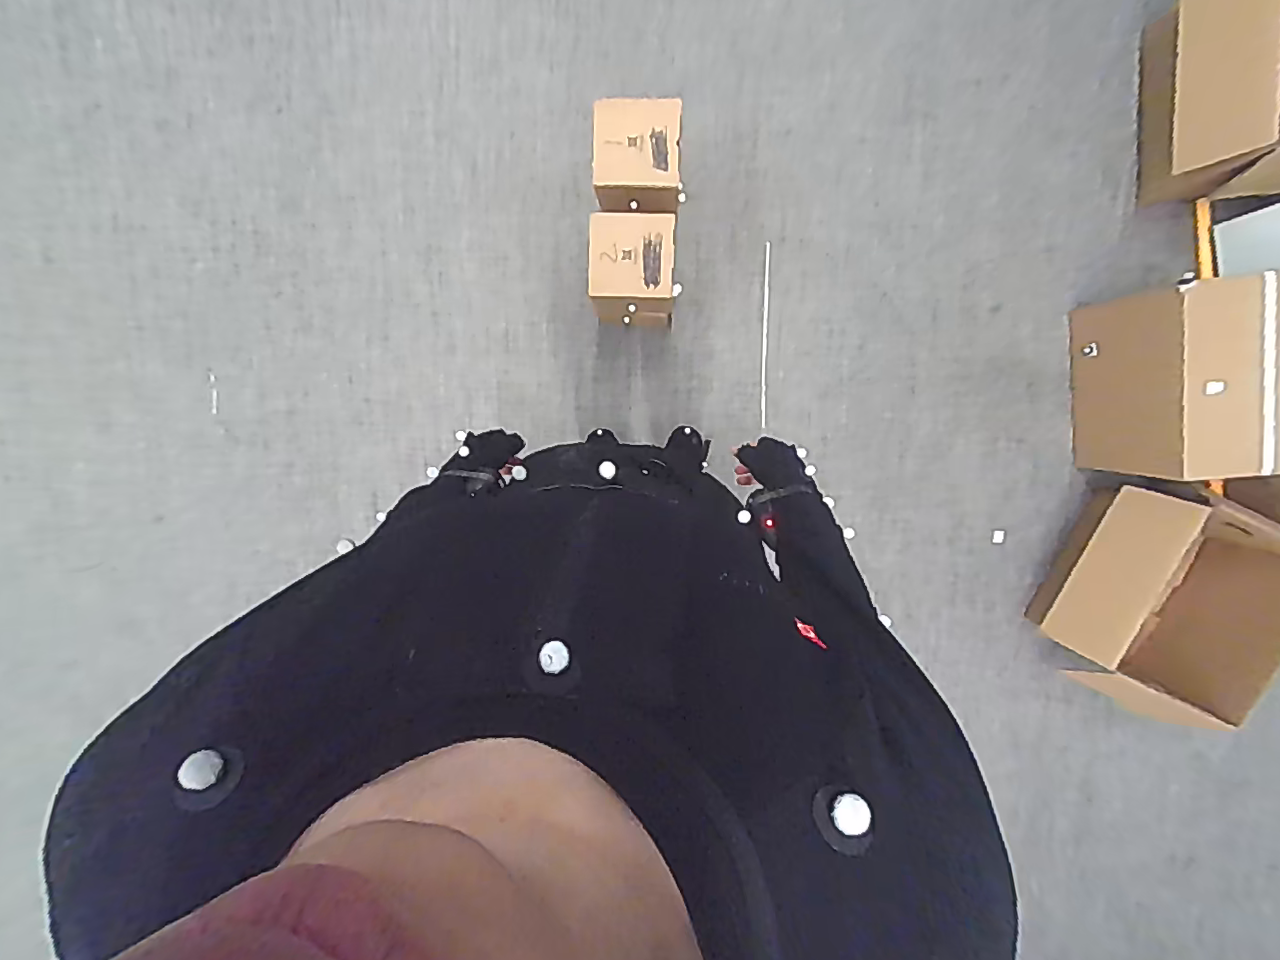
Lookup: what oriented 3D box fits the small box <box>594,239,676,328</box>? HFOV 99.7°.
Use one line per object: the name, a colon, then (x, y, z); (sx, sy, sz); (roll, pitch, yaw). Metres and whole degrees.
small box: (-0.009, -0.477, 1.336); (0.179, 0.176, 0.168); (7, 98, 2)
